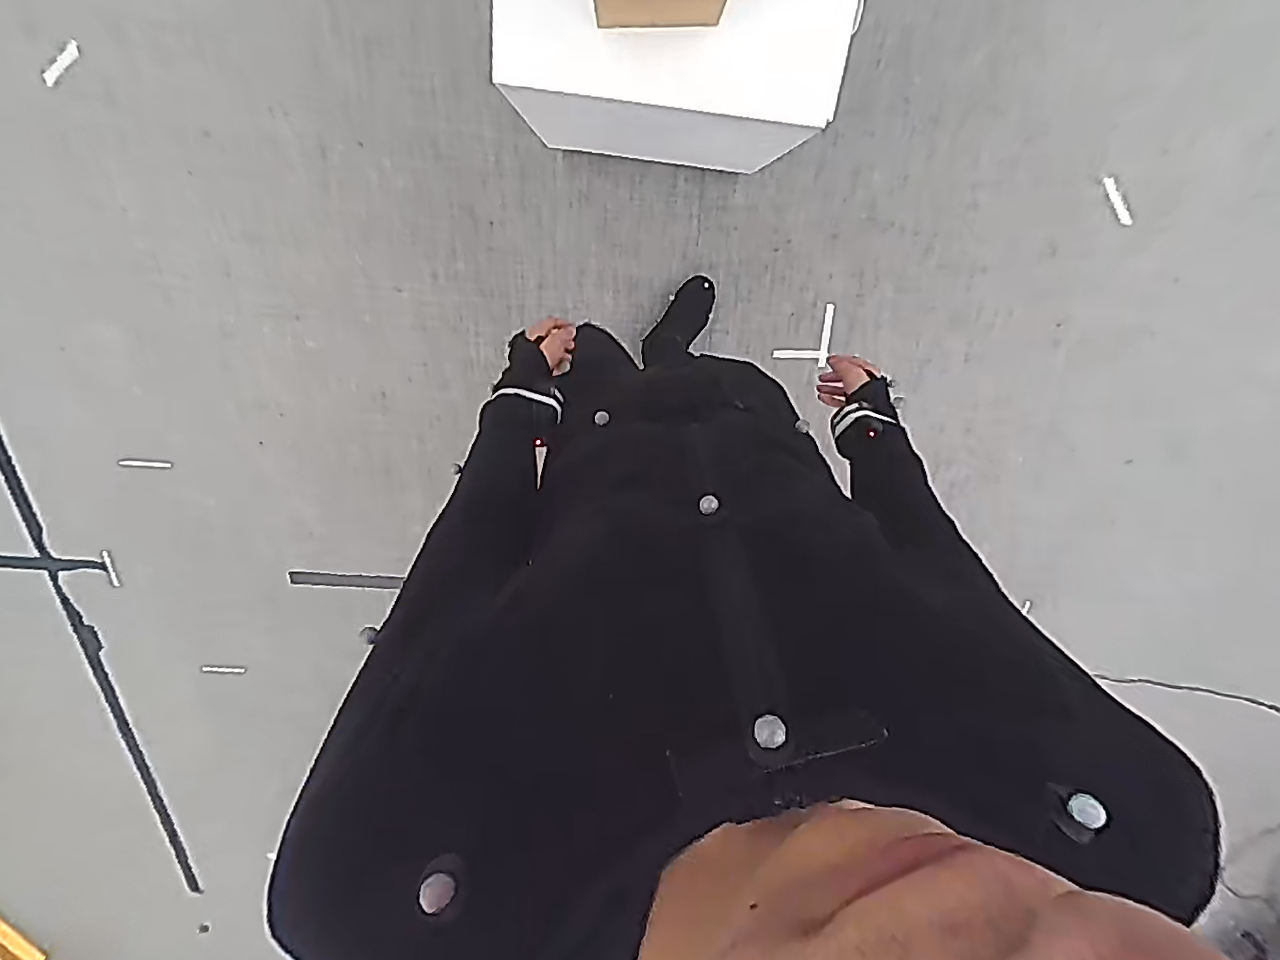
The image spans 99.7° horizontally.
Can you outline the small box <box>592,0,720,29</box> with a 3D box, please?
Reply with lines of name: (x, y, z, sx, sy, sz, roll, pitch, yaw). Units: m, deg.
small box: (0.021, -0.692, 0.673, 0.179, 0.176, 0.168, -2, 113, -1)
